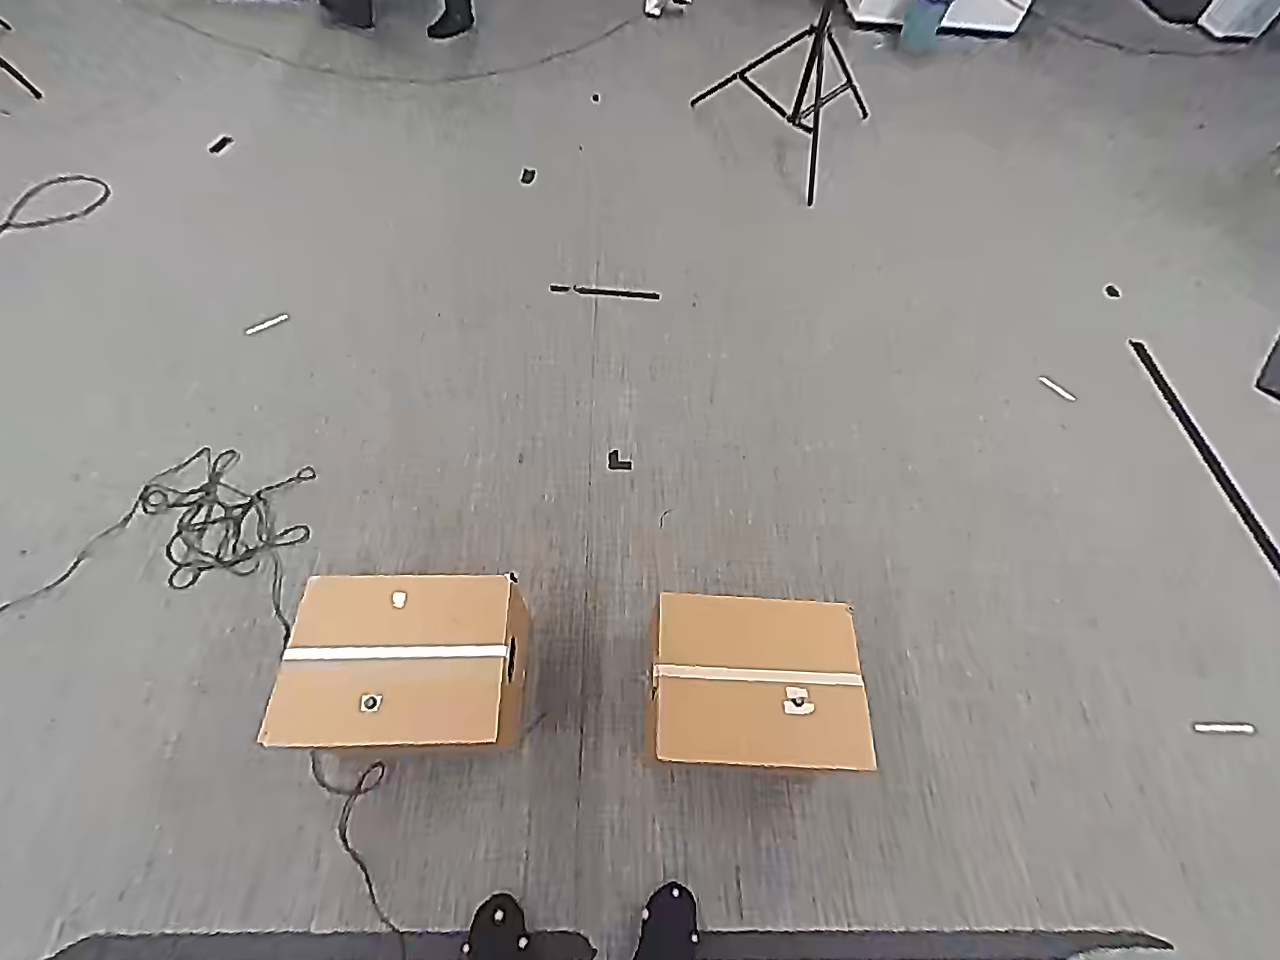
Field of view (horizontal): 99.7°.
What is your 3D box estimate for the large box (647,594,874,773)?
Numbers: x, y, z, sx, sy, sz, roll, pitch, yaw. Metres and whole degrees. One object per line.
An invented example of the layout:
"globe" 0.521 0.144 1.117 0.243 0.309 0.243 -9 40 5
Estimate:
"large box" 0.226 0.458 1.187 0.408 0.320 0.320 4 60 -3
